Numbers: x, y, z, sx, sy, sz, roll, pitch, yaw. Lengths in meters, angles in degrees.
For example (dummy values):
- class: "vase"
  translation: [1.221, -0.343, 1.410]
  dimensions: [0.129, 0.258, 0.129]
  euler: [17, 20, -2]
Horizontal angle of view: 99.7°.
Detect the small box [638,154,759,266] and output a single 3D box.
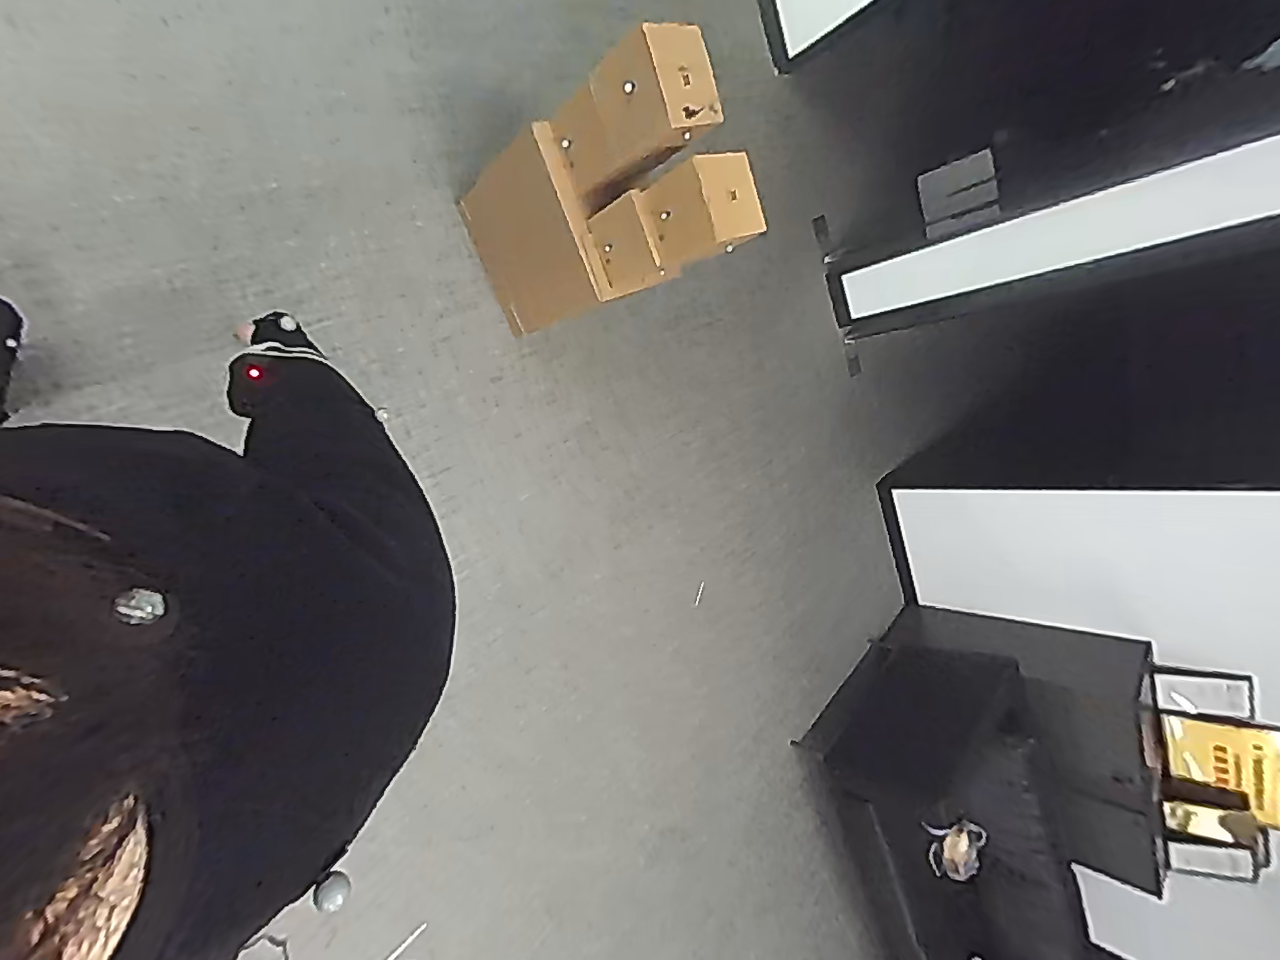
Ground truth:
- class: "small box"
  translation: [0.127, -0.588, 1.184]
  dimensions: [0.179, 0.176, 0.168]
  euler: [-30, 107, -36]
